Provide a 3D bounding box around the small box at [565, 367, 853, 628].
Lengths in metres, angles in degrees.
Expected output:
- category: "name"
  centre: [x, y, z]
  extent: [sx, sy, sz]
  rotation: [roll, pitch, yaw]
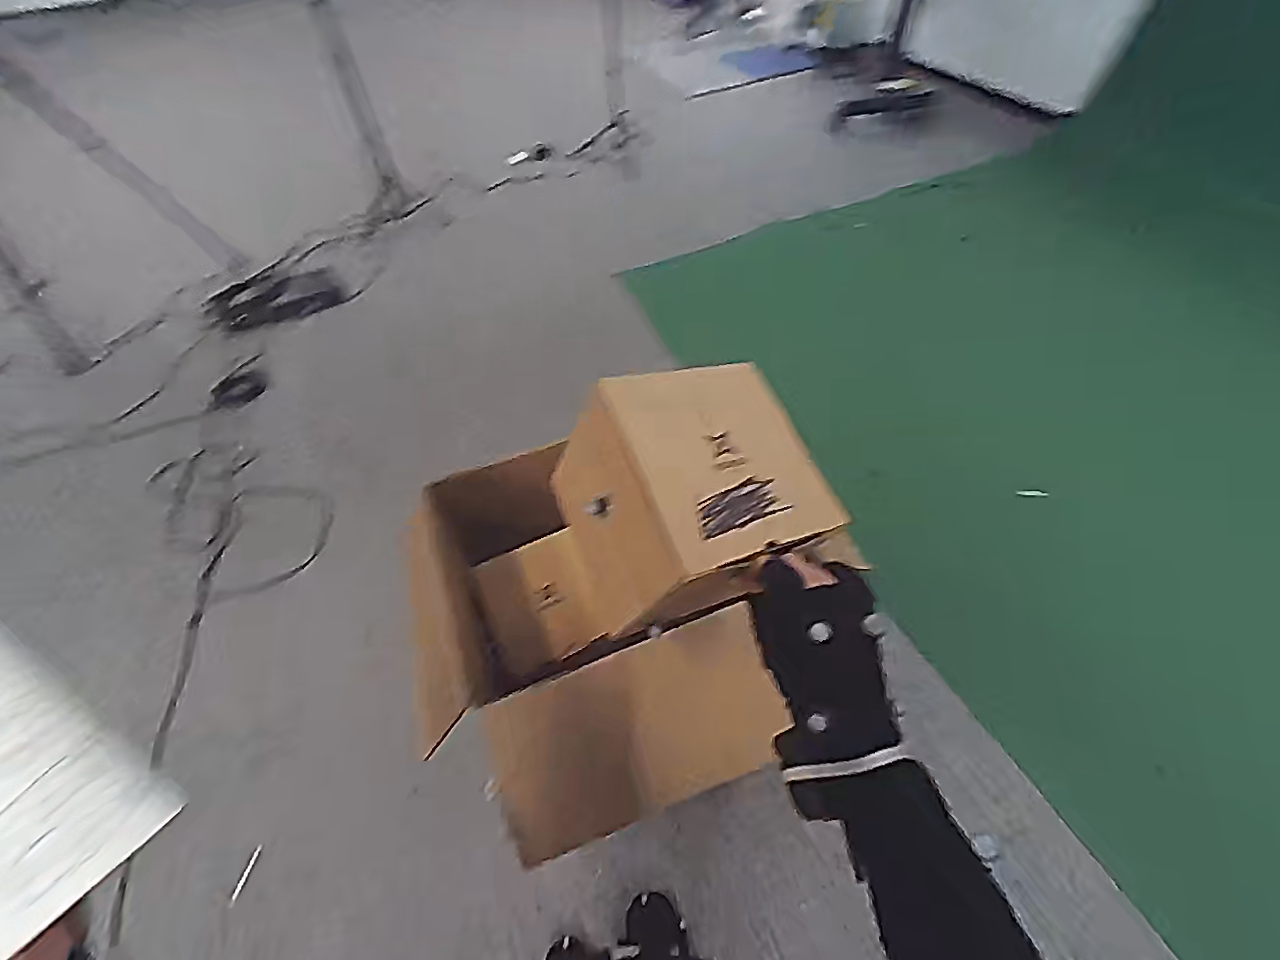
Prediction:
- category: "small box"
  centre: [0.047, 0.021, 0.497]
  extent: [0.168, 0.176, 0.179]
  rotation: [-11, 64, -29]
